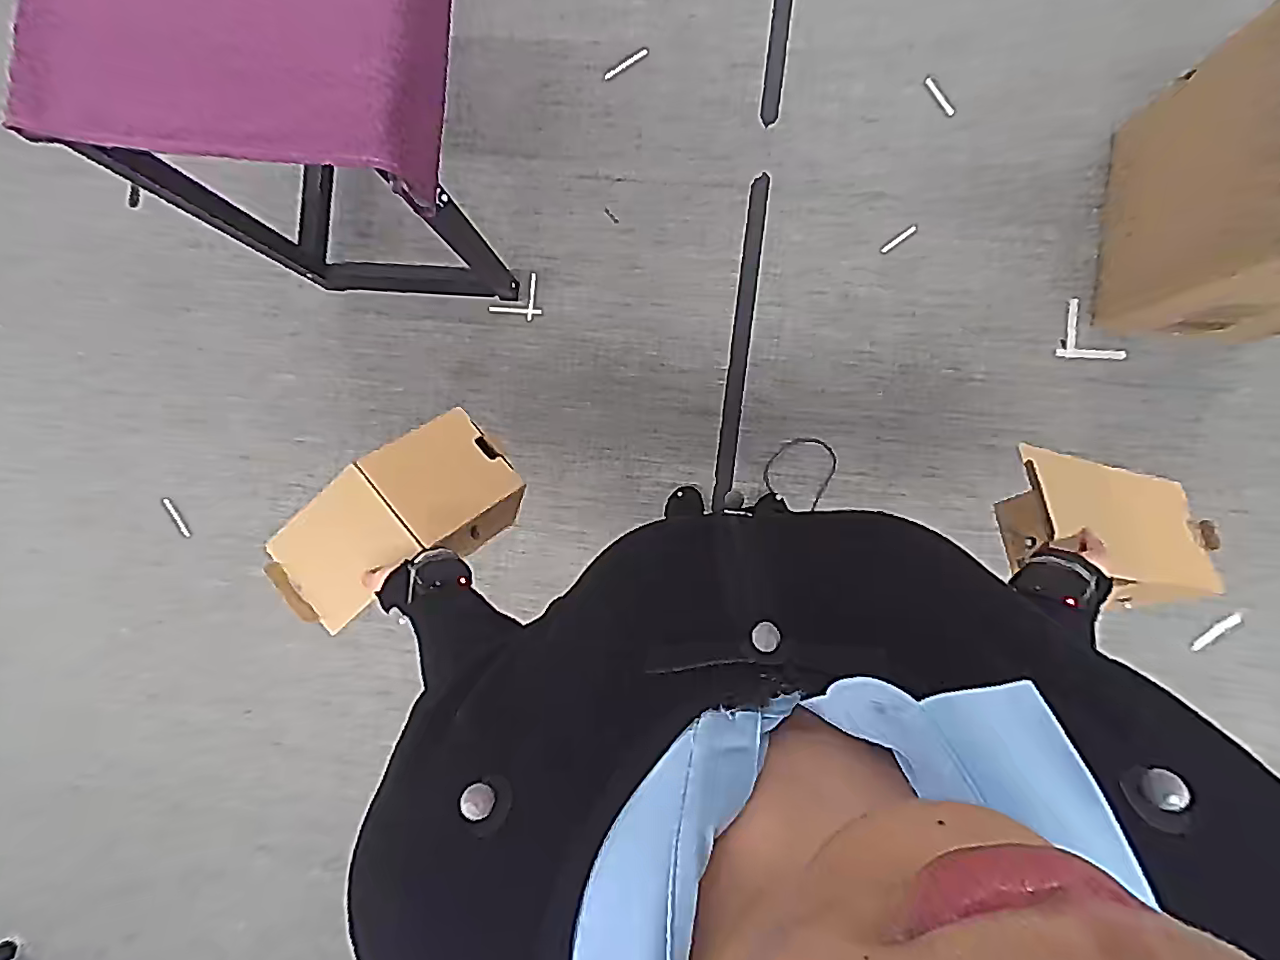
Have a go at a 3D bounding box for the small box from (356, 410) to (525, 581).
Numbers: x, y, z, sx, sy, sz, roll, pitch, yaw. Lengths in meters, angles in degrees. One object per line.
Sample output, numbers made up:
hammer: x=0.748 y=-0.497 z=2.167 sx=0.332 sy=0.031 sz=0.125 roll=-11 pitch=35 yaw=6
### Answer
small box: x=-0.303 y=0.031 z=0.840 sx=0.179 sy=0.176 sz=0.168 roll=-37 pitch=81 yaw=-31
